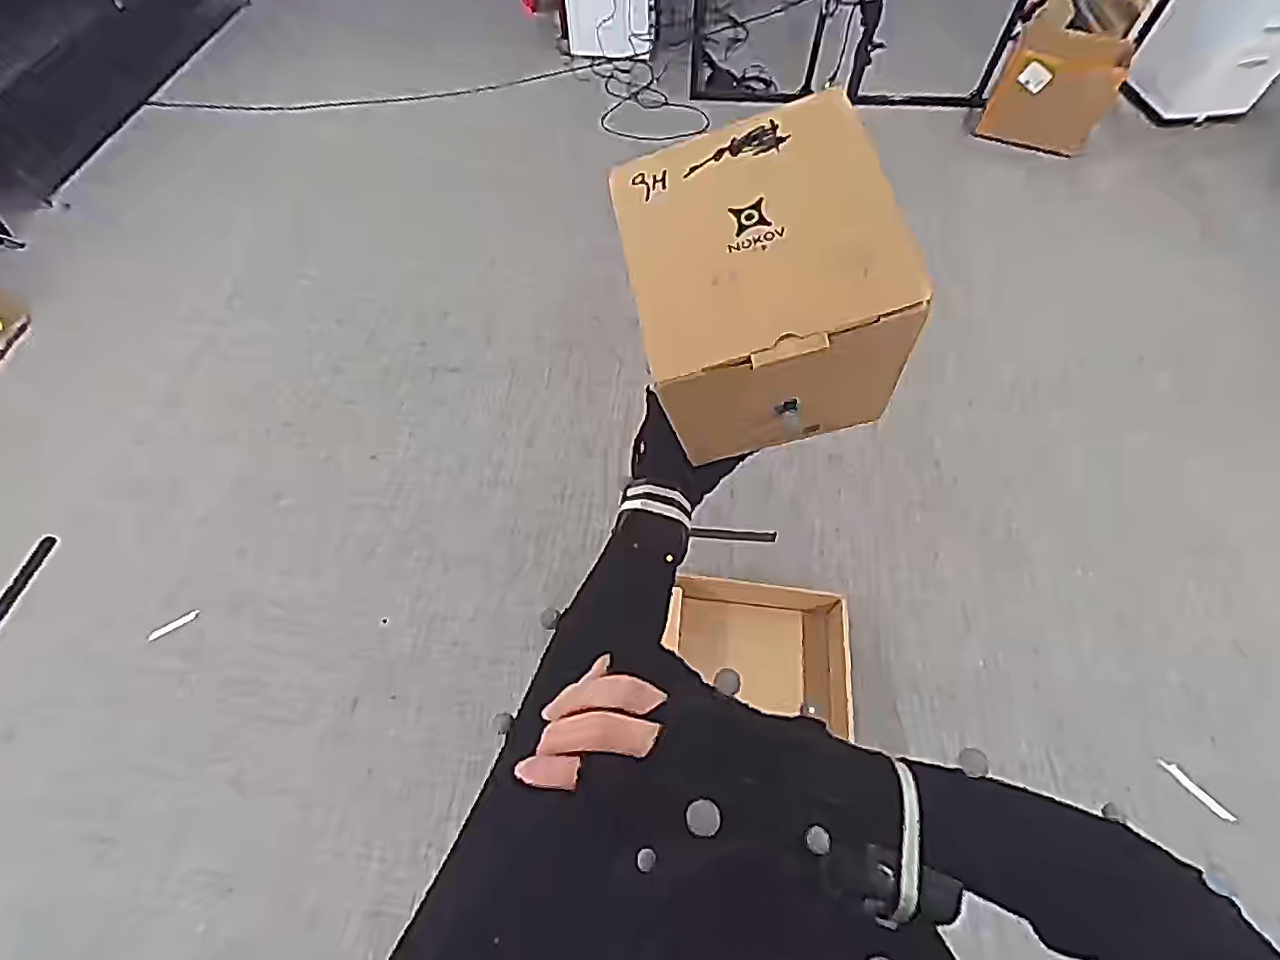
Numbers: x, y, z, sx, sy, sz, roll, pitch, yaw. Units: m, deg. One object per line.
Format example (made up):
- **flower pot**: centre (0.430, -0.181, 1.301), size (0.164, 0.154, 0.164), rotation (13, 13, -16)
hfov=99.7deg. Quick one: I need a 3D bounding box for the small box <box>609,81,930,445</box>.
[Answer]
- **small box**: centre (0.090, -0.138, 0.413), size (0.168, 0.176, 0.179), rotation (-15, 72, 10)
